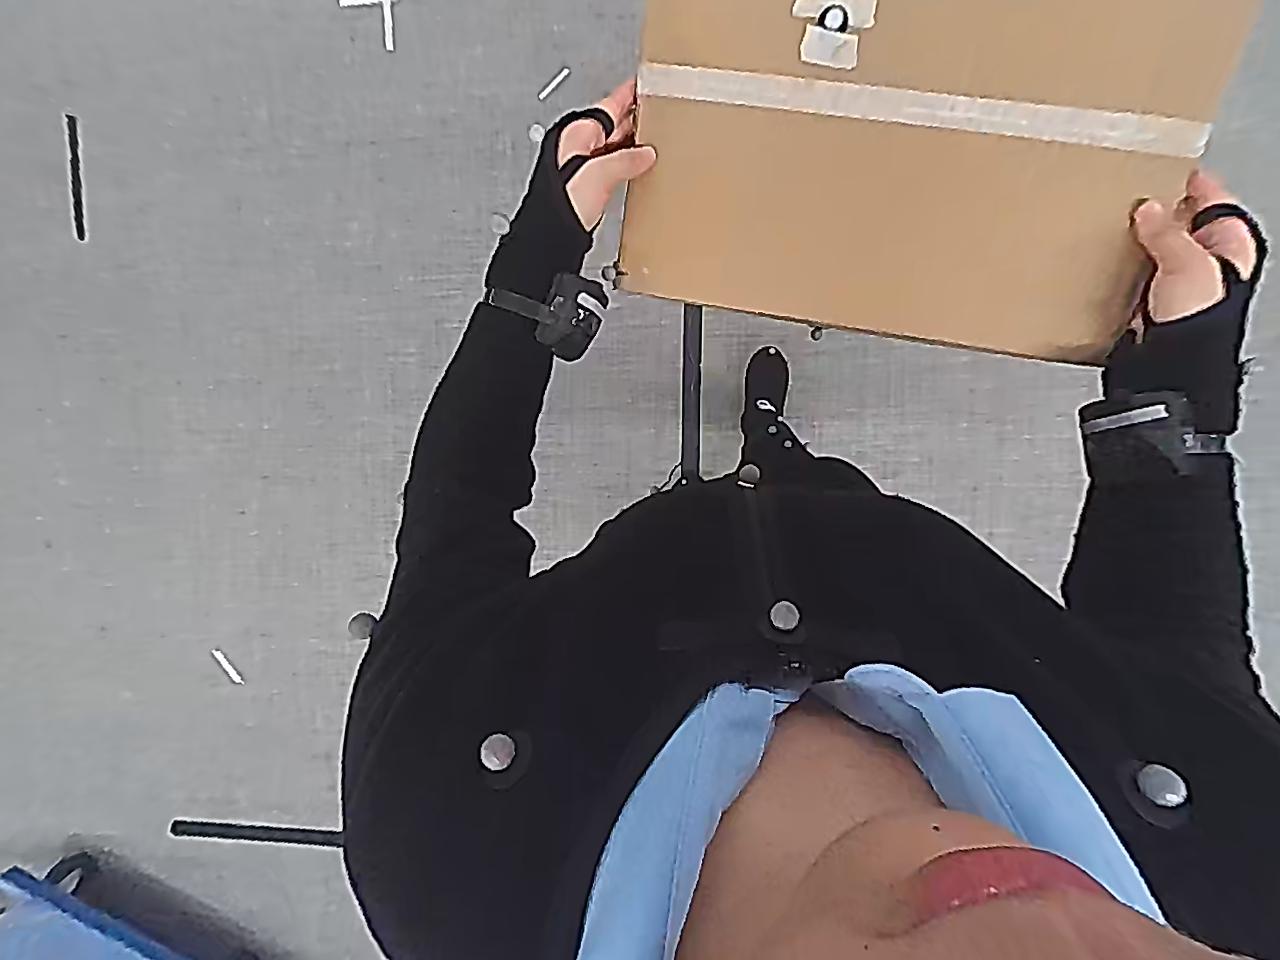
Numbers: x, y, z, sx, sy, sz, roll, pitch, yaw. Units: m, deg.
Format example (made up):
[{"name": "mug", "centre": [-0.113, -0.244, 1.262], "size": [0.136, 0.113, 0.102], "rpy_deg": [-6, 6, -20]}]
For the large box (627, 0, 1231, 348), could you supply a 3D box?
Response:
[{"name": "large box", "centre": [0.226, -0.326, 0.560], "size": [0.408, 0.320, 0.320], "rpy_deg": [11, 107, 7]}]
